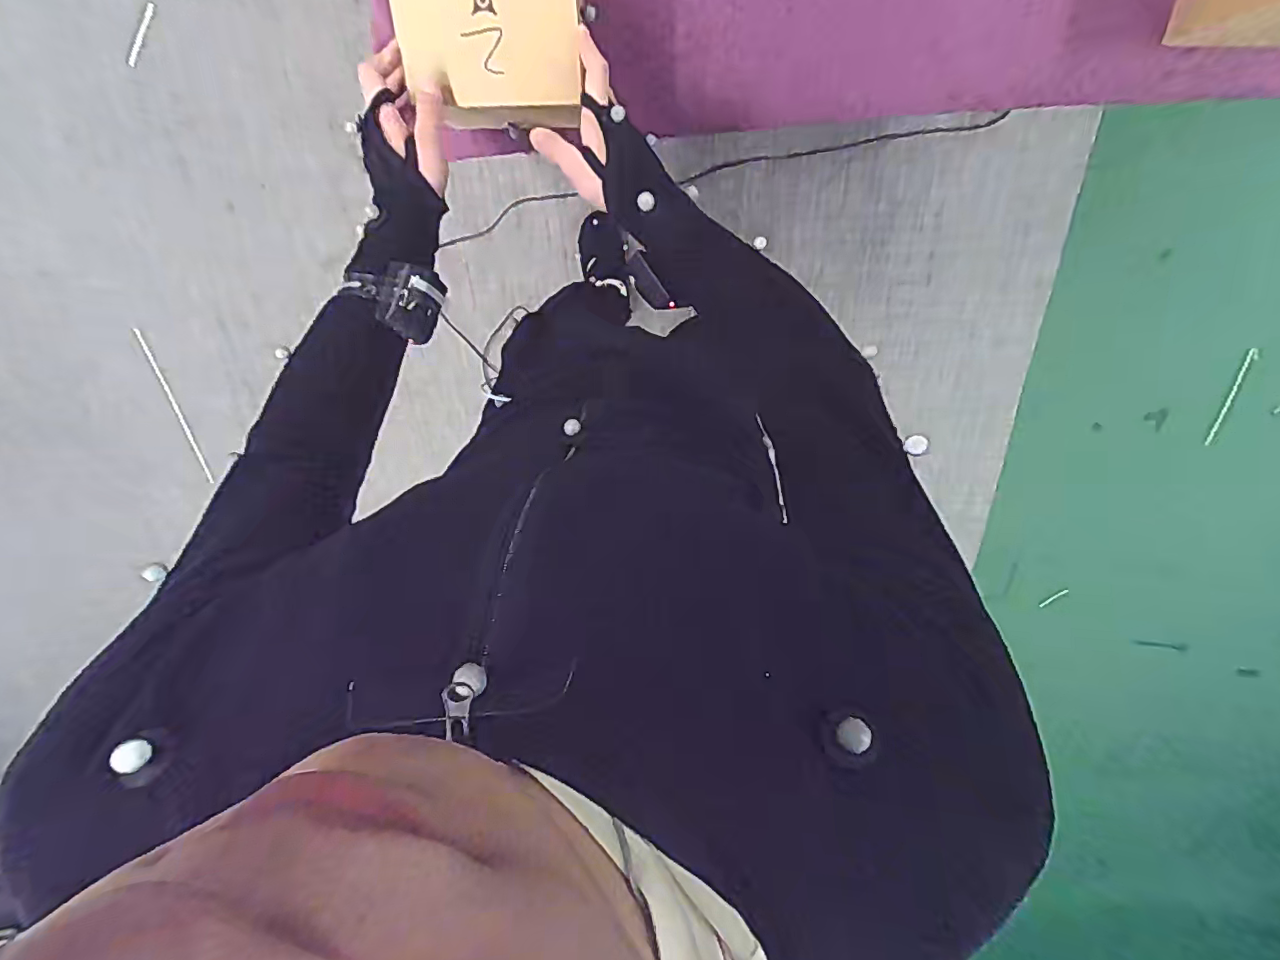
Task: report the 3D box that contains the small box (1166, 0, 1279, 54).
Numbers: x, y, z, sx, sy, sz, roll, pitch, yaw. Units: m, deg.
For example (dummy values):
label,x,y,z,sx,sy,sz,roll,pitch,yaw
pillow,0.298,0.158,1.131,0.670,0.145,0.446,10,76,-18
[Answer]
label,x,y,z,sx,sy,sz,roll,pitch,yaw
small box,0.715,-0.552,0.543,0.179,0.176,0.168,0,116,-1
